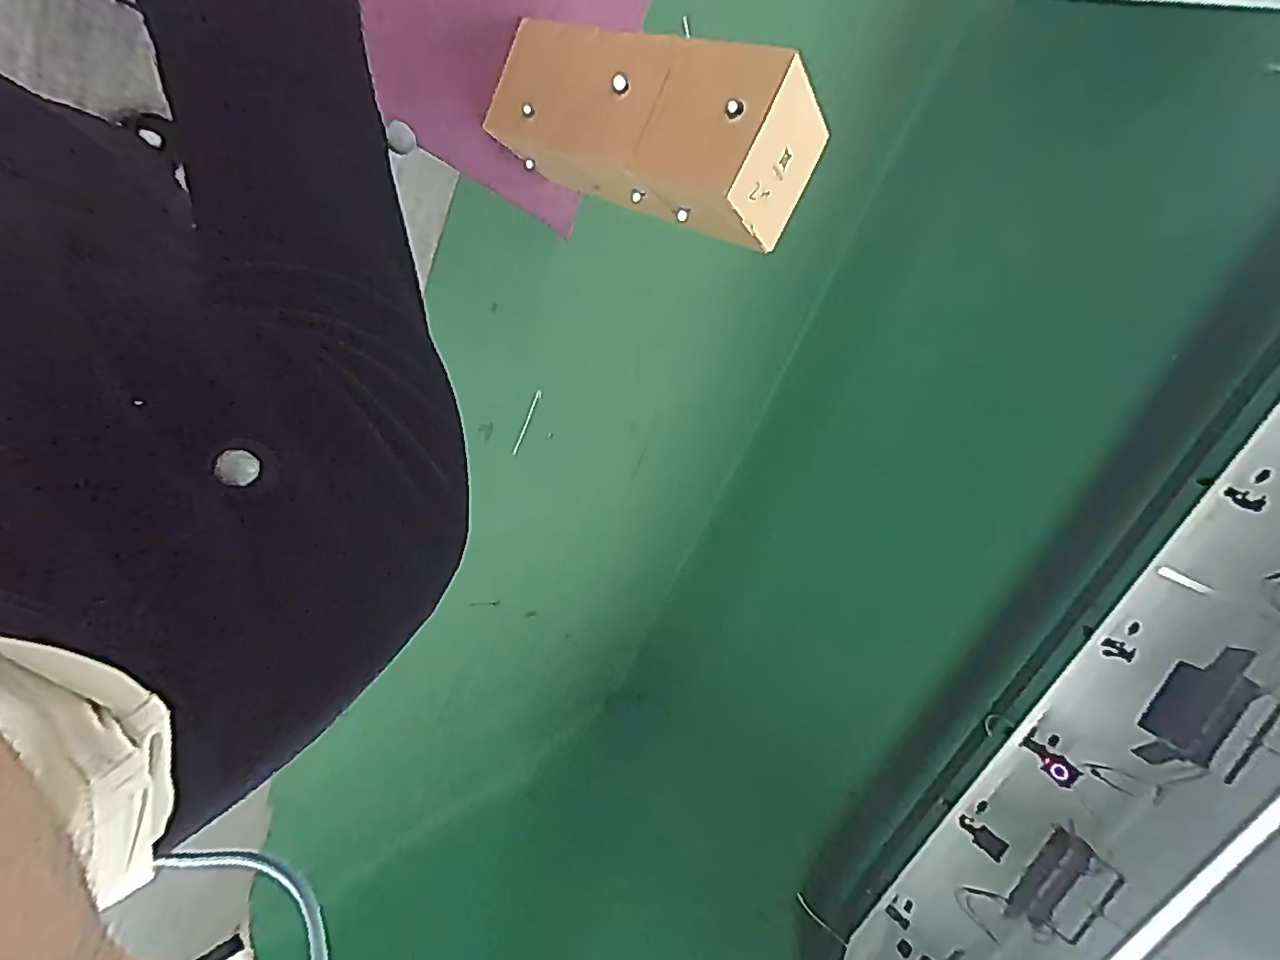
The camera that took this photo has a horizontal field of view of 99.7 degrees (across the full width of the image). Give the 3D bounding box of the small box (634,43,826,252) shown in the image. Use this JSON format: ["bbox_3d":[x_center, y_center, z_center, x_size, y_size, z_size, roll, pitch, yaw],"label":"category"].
[{"bbox_3d":[0.120,-0.450,0.738,0.168,0.176,0.179,7,113,-58],"label":"small box"}]

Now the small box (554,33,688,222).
[{"bbox_3d":[-0.002,-0.529,0.816,0.168,0.176,0.179,6,113,-58],"label":"small box"}]
